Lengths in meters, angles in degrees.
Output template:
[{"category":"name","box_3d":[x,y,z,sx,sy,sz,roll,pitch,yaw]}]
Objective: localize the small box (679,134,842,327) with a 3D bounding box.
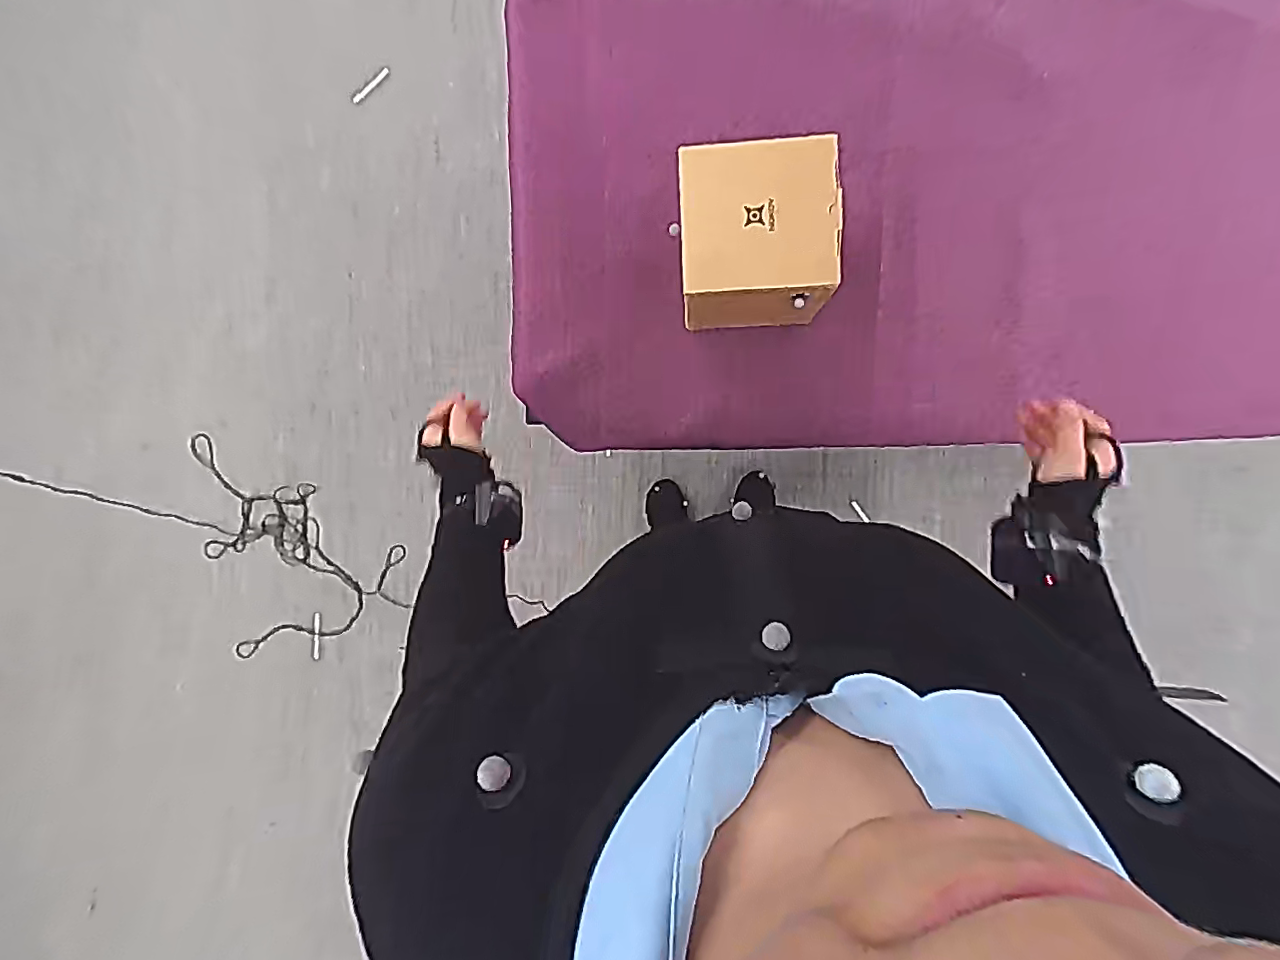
[{"category":"small box","box_3d":[0.141,-0.297,0.681,0.179,0.176,0.168,-2,91,5]}]
